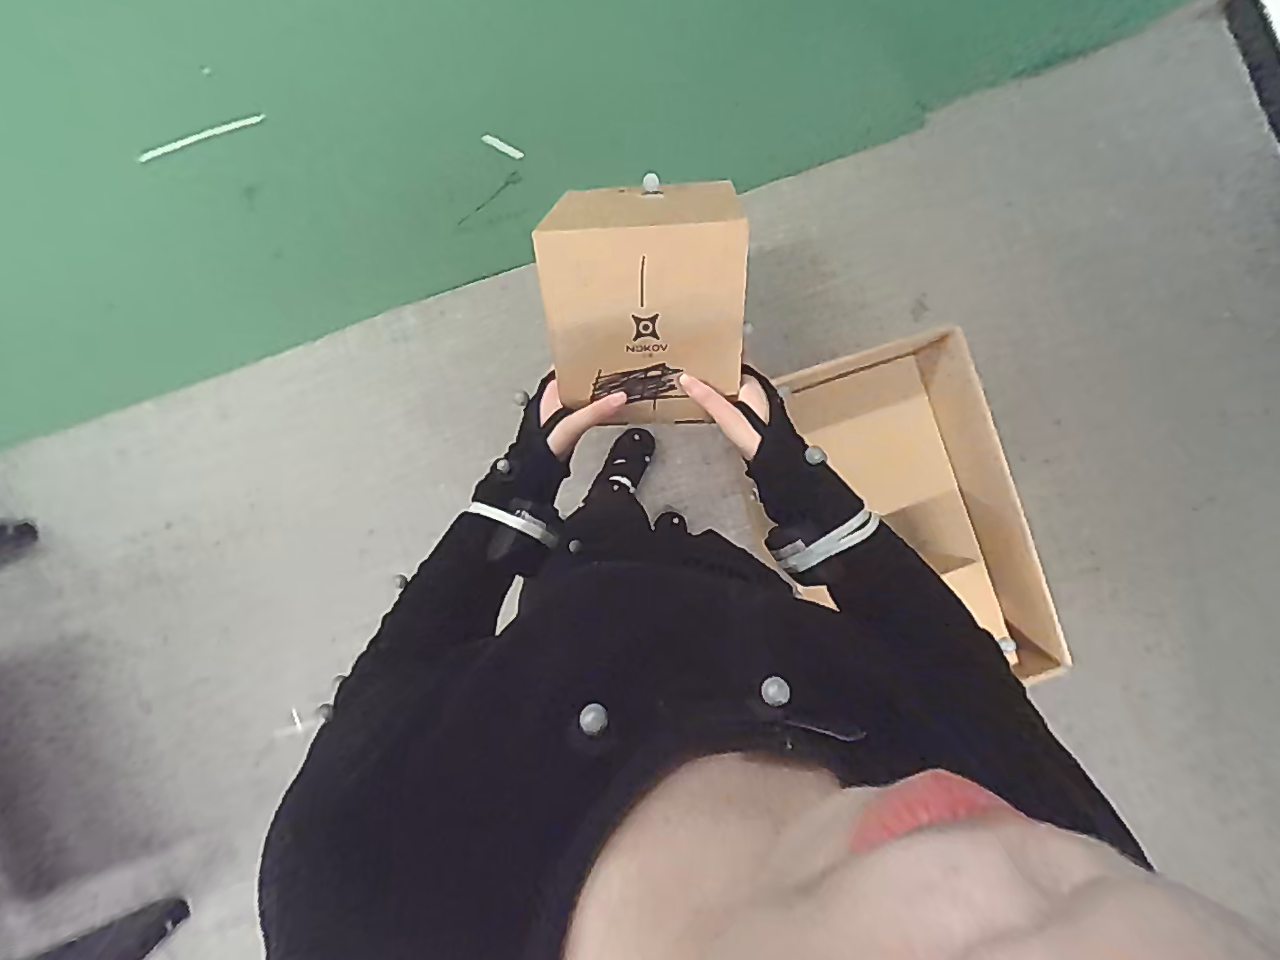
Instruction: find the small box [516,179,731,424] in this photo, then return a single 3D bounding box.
[{"bbox_3d":[-0.004,-0.172,0.518,0.168,0.176,0.179,-2,127,5],"label":"small box"}]
